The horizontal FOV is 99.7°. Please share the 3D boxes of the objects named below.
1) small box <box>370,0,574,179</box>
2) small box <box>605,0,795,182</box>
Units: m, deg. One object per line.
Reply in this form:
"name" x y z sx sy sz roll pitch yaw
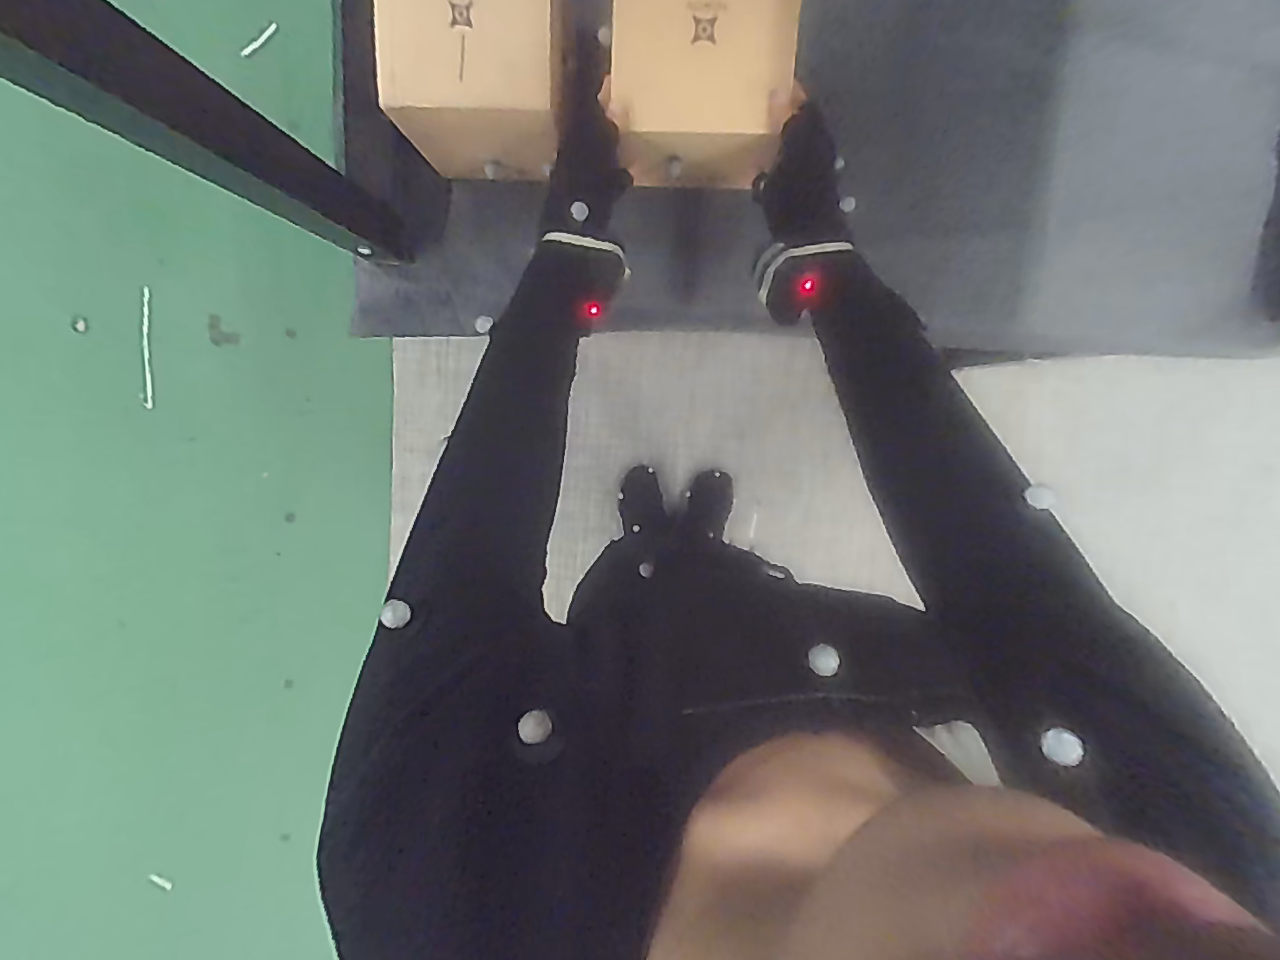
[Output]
"small box" -0.163 -0.448 0.571 0.168 0.176 0.179 2 98 1
"small box" 0.059 -0.422 0.549 0.168 0.176 0.179 3 101 3
